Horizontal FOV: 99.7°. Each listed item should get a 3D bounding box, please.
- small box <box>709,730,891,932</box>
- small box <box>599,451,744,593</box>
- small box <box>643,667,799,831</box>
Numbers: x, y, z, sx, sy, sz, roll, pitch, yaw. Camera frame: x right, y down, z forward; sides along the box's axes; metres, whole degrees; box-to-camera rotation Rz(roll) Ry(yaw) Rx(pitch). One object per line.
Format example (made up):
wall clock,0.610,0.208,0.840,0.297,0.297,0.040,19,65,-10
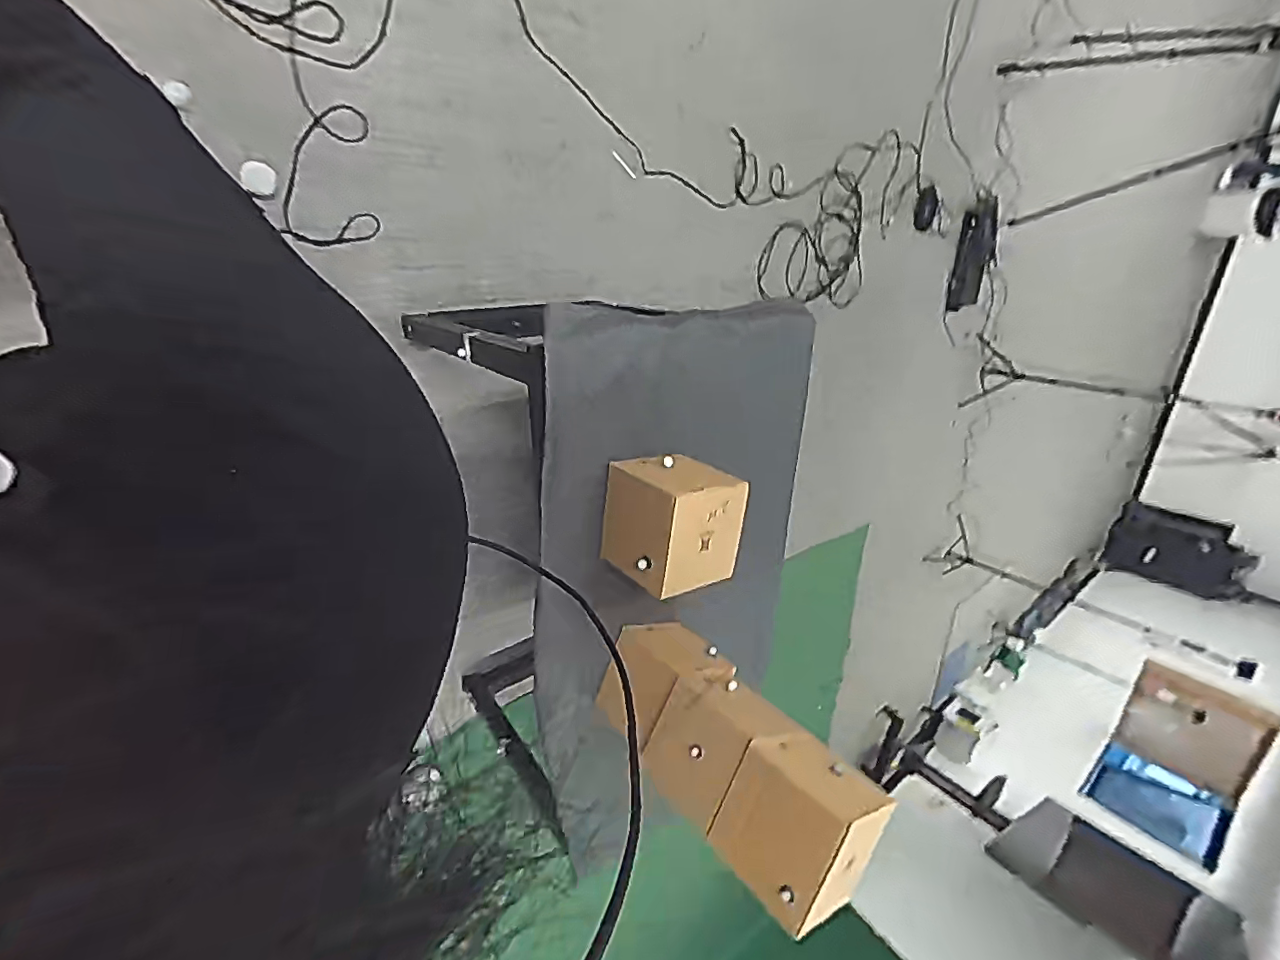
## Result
small box,0.230,0.491,0.795,0.168,0.176,0.179,18,96,-44
small box,0.045,0.061,0.908,0.168,0.176,0.179,-8,113,-39
small box,0.130,0.443,0.914,0.168,0.176,0.179,22,93,-44
